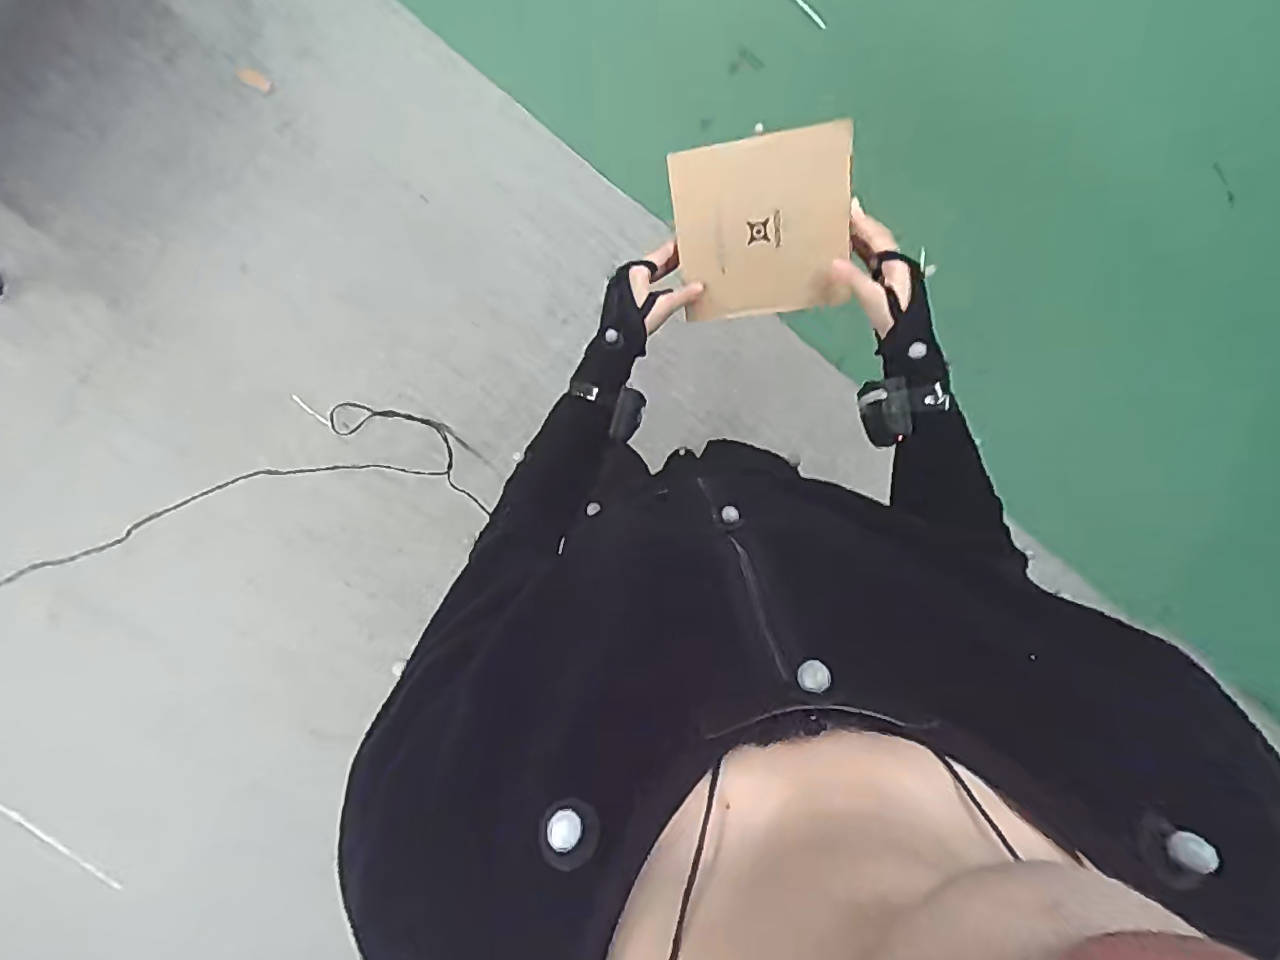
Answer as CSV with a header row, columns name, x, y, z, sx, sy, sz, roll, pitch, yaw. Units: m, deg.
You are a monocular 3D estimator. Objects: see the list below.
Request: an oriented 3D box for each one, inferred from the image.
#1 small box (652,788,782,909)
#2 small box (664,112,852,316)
name,x,y,z,sx,sy,sz,roll,pitch,yaw
small box,0.138,0.736,1.043,0.168,0.176,0.179,-44,92,4
small box,0.127,-0.289,0.606,0.179,0.176,0.168,-4,114,11
